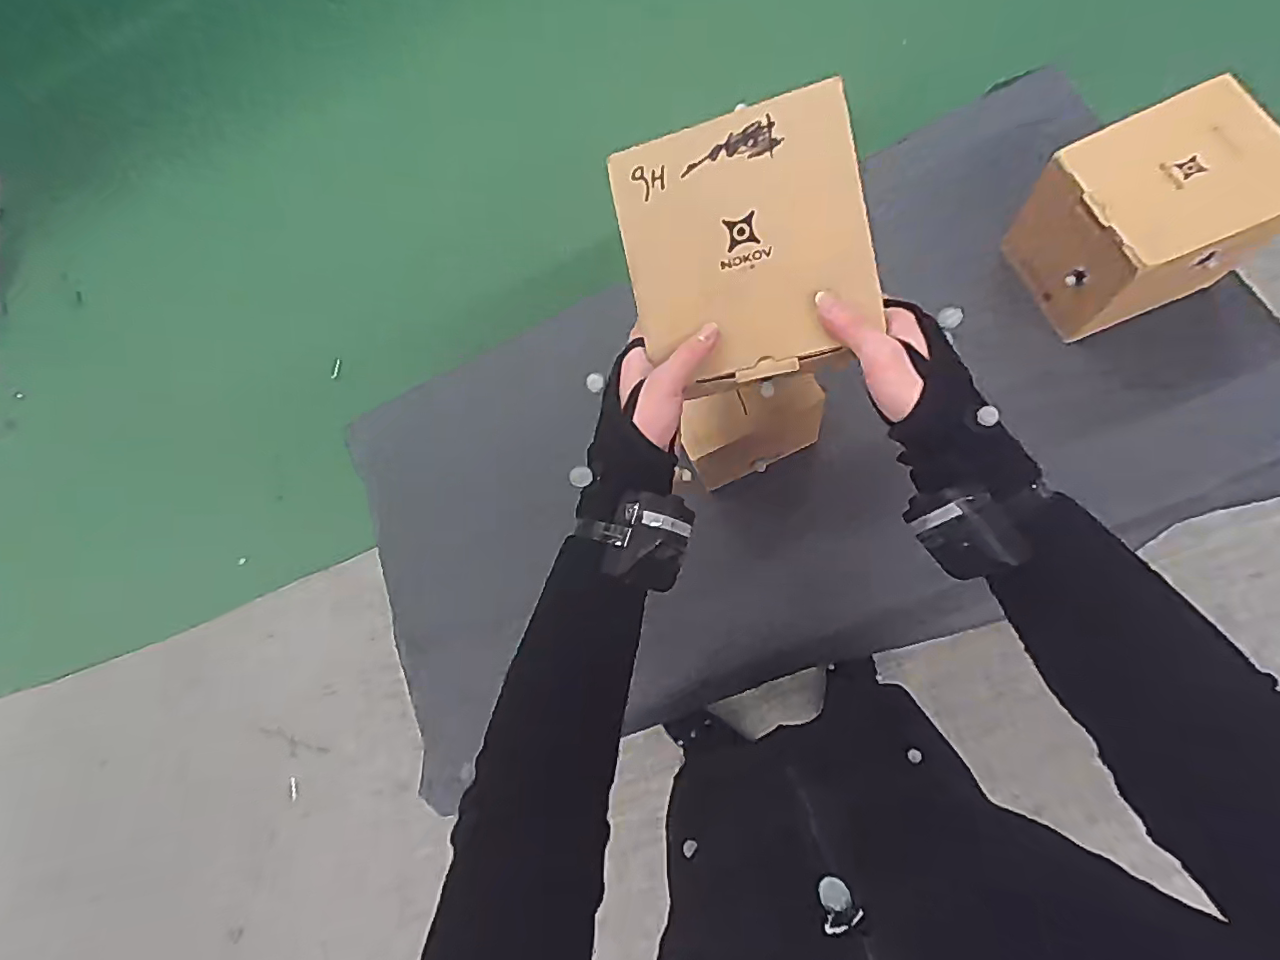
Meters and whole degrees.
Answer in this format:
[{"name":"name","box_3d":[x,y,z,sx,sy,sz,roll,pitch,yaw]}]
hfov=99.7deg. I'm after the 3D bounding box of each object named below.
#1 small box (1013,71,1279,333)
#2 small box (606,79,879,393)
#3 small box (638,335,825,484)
[{"name":"small box","box_3d":[0.570,-0.299,0.620,0.179,0.176,0.168,-23,74,8]},{"name":"small box","box_3d":[0.086,-0.174,0.454,0.168,0.176,0.179,-11,95,13]},{"name":"small box","box_3d":[0.118,-0.116,0.700,0.168,0.176,0.179,-26,73,8]}]
